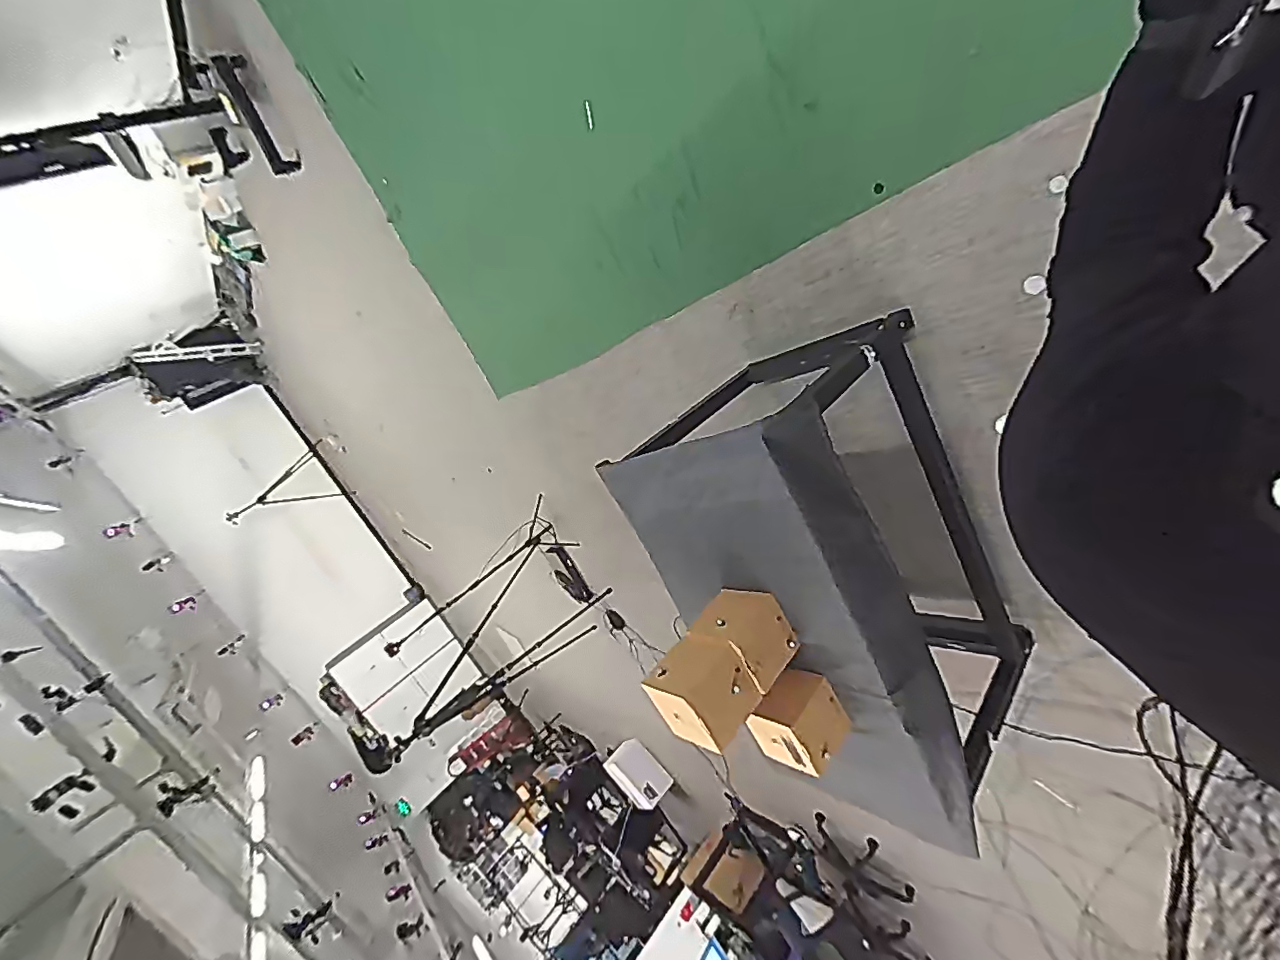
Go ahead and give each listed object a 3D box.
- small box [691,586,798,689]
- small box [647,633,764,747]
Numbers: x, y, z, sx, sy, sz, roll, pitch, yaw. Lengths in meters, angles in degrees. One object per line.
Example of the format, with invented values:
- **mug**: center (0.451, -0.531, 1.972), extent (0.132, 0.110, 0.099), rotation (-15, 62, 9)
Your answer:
- **small box**: center (0.266, 0.381, 1.339), extent (0.179, 0.176, 0.168), rotation (-9, 115, 56)
- **small box**: center (0.155, 0.481, 1.269), extent (0.179, 0.176, 0.168), rotation (-13, 112, 55)
